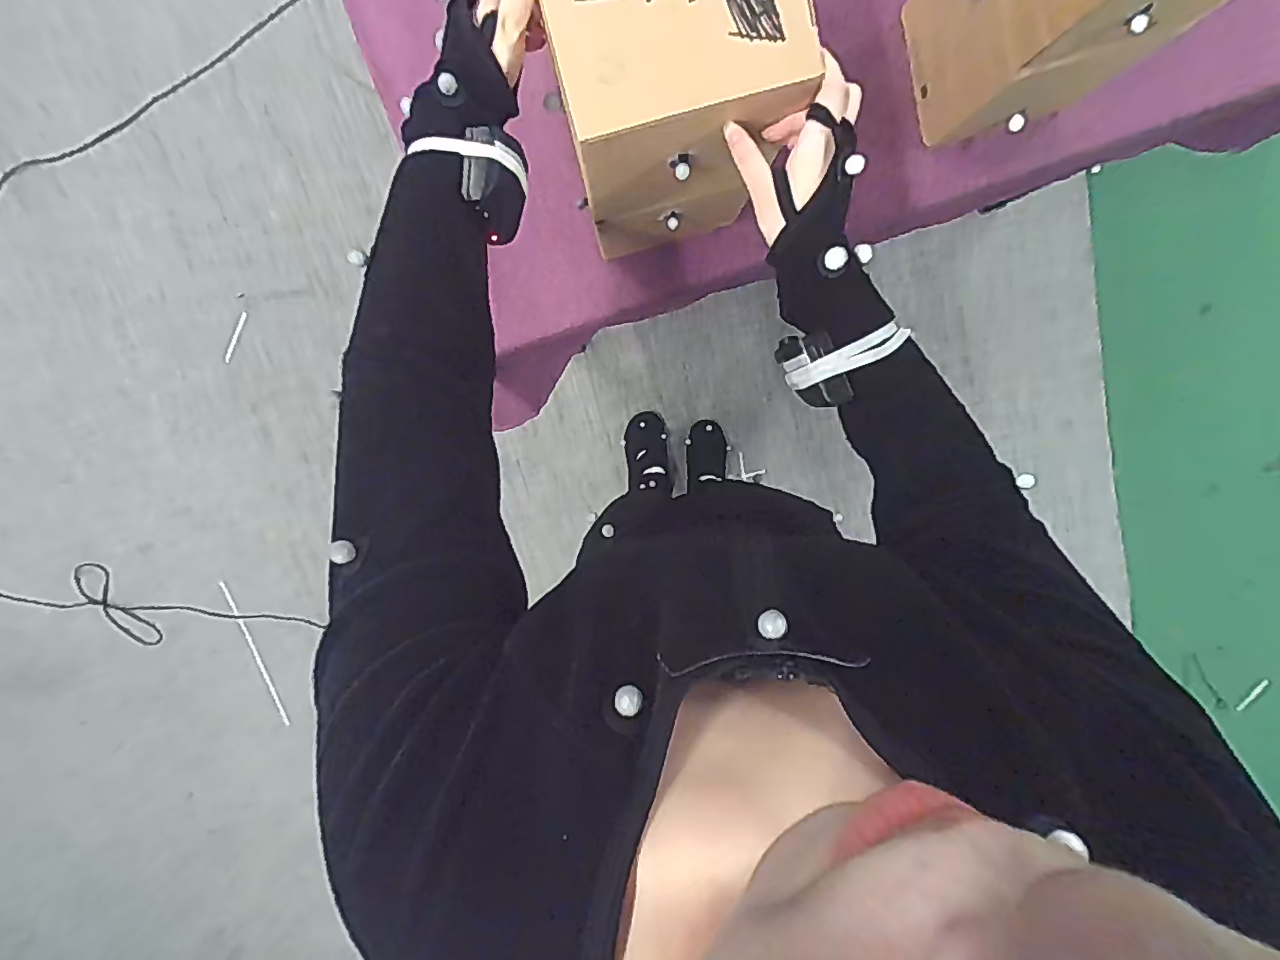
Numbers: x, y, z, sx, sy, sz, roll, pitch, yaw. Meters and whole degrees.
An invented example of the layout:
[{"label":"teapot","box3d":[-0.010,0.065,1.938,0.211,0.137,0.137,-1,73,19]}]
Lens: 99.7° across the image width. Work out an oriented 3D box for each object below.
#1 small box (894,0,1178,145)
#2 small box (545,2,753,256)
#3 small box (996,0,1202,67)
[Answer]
[{"label":"small box","box3d":[0.409,-0.501,0.584,0.179,0.176,0.168,-16,100,2]},{"label":"small box","box3d":[0.011,-0.369,0.607,0.179,0.176,0.168,-15,101,2]},{"label":"small box","box3d":[0.405,-0.480,0.421,0.168,0.176,0.179,-15,101,3]}]
